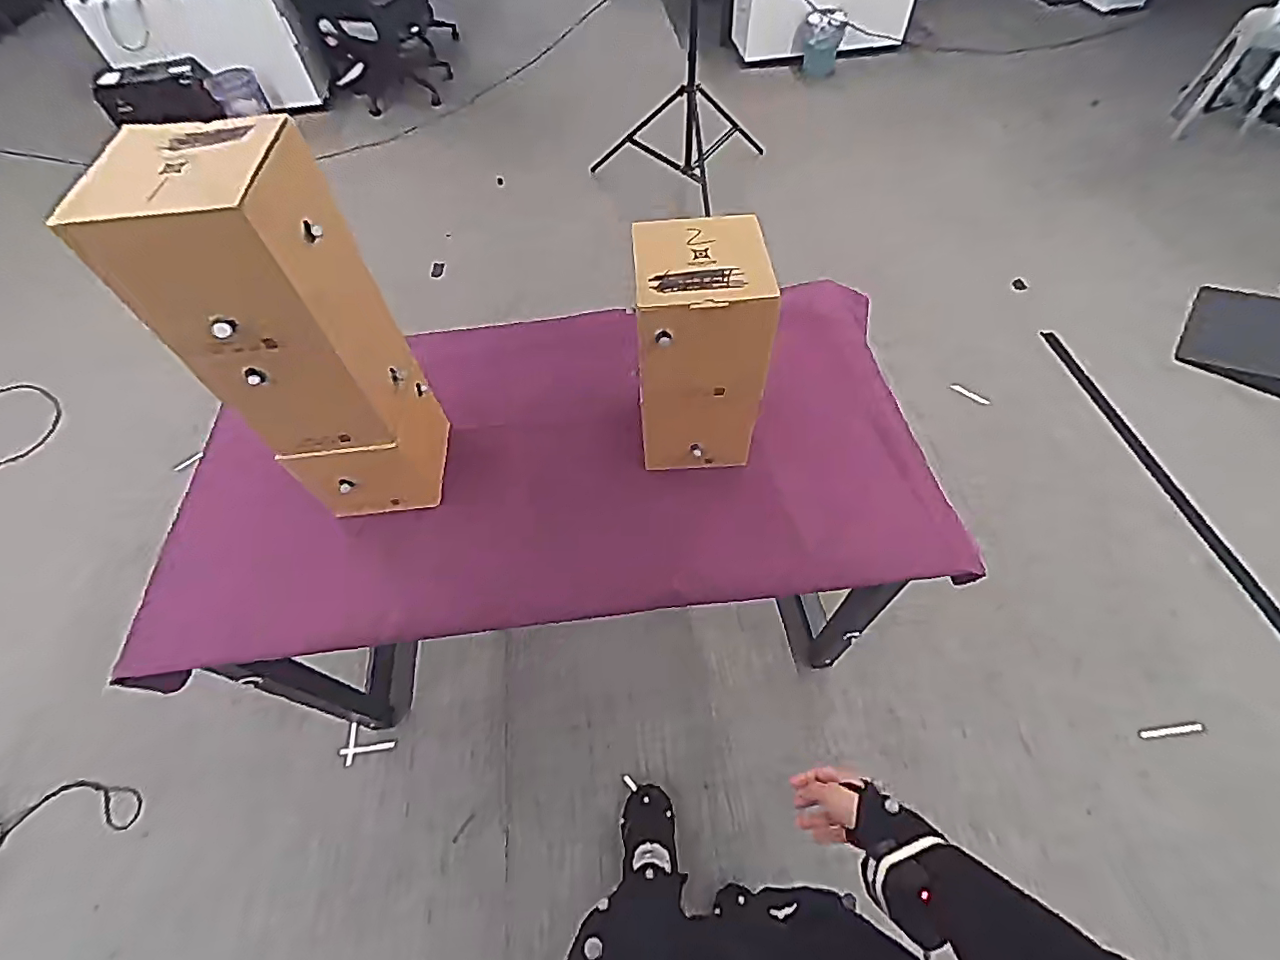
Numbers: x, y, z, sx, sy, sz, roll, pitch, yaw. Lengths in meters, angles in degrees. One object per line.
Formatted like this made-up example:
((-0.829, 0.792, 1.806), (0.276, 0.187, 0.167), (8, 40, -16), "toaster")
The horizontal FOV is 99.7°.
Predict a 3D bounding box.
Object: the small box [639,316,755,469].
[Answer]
((0.082, -0.137, 0.866), (0.168, 0.176, 0.179), (-3, 56, 2), "small box")

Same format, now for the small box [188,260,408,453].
((-0.423, -0.158, 0.710), (0.168, 0.176, 0.179), (-7, 56, -2), "small box")

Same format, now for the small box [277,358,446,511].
((-0.415, -0.063, 0.843), (0.168, 0.176, 0.179), (-6, 56, -1), "small box")

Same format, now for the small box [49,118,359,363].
((-0.425, -0.248, 0.572), (0.168, 0.176, 0.179), (-6, 57, -1), "small box")
